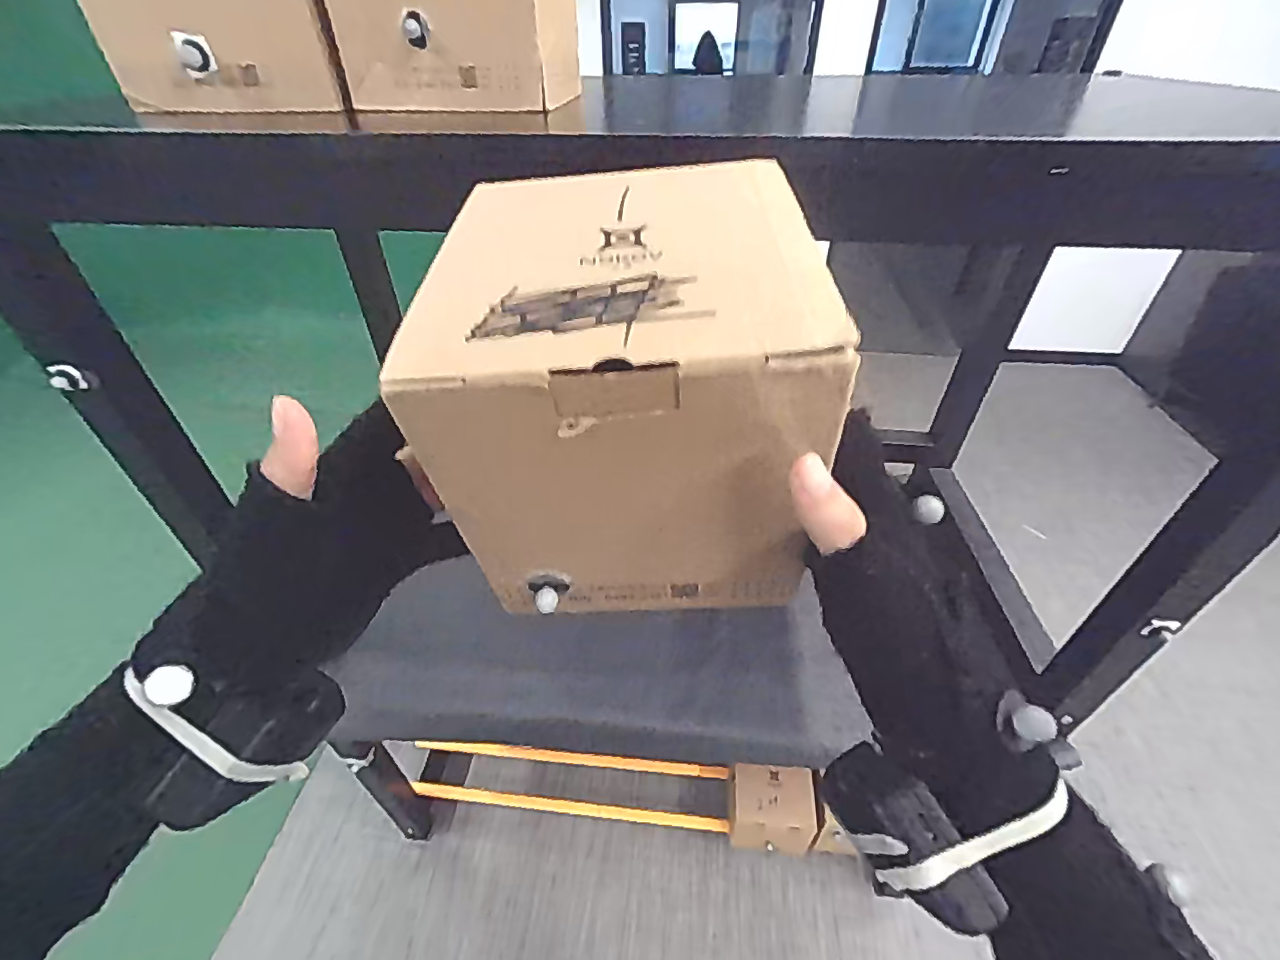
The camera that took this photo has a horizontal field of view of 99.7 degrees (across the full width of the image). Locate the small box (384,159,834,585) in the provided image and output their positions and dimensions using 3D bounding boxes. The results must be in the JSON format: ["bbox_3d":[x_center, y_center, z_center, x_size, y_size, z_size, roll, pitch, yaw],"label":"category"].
[{"bbox_3d":[-0.005,-0.052,0.303,0.168,0.176,0.179,-3,48,3],"label":"small box"}]
